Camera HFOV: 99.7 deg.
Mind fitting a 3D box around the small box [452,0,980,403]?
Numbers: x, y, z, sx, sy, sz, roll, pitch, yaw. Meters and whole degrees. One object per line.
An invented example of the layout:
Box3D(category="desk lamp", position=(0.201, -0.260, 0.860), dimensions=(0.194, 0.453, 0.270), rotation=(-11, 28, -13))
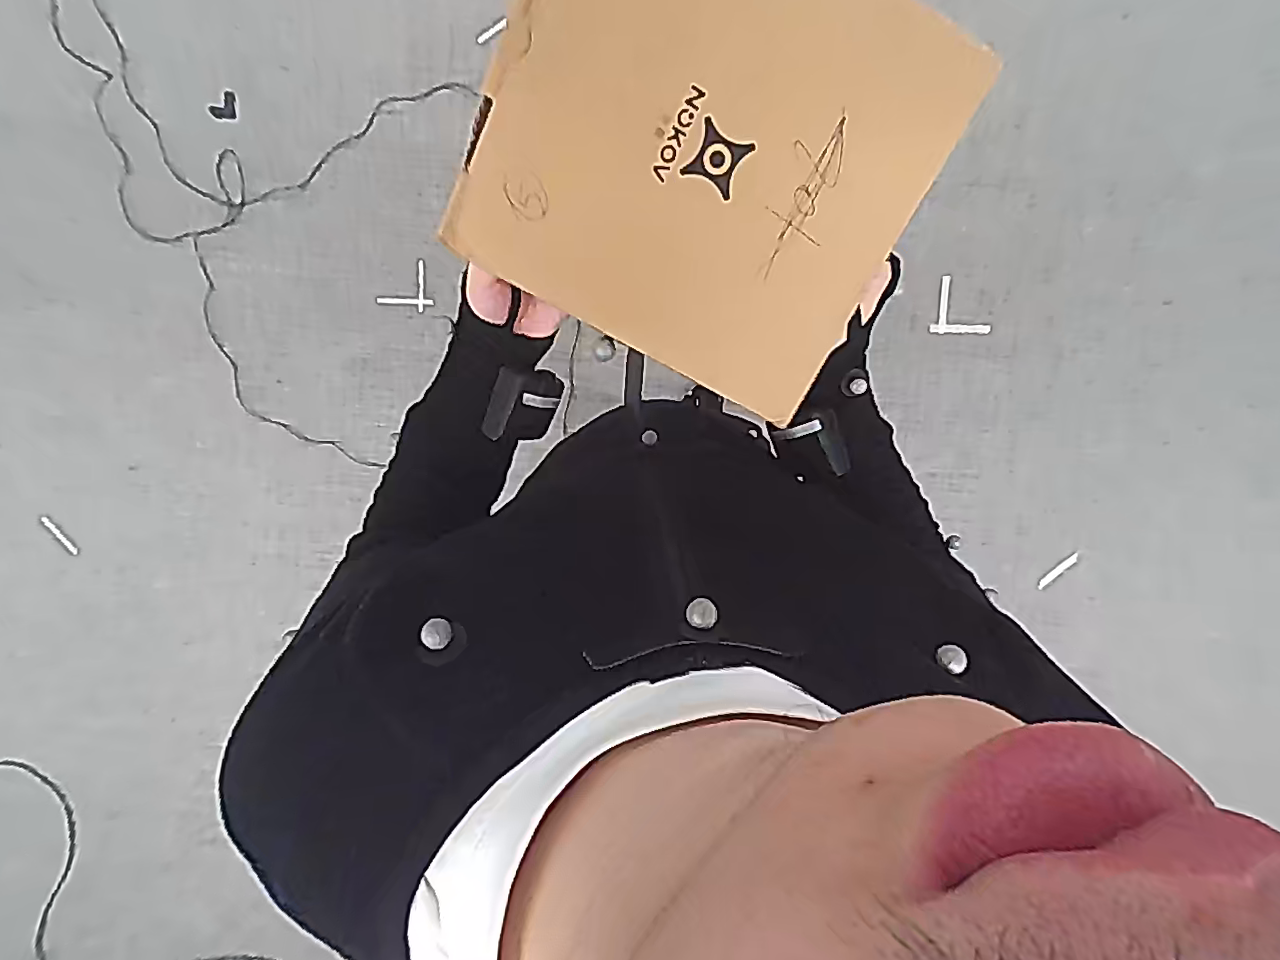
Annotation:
Box3D(category="small box", position=(0.027, -0.163, 0.307), dimensions=(0.179, 0.176, 0.168), rotation=(25, 105, -9))
